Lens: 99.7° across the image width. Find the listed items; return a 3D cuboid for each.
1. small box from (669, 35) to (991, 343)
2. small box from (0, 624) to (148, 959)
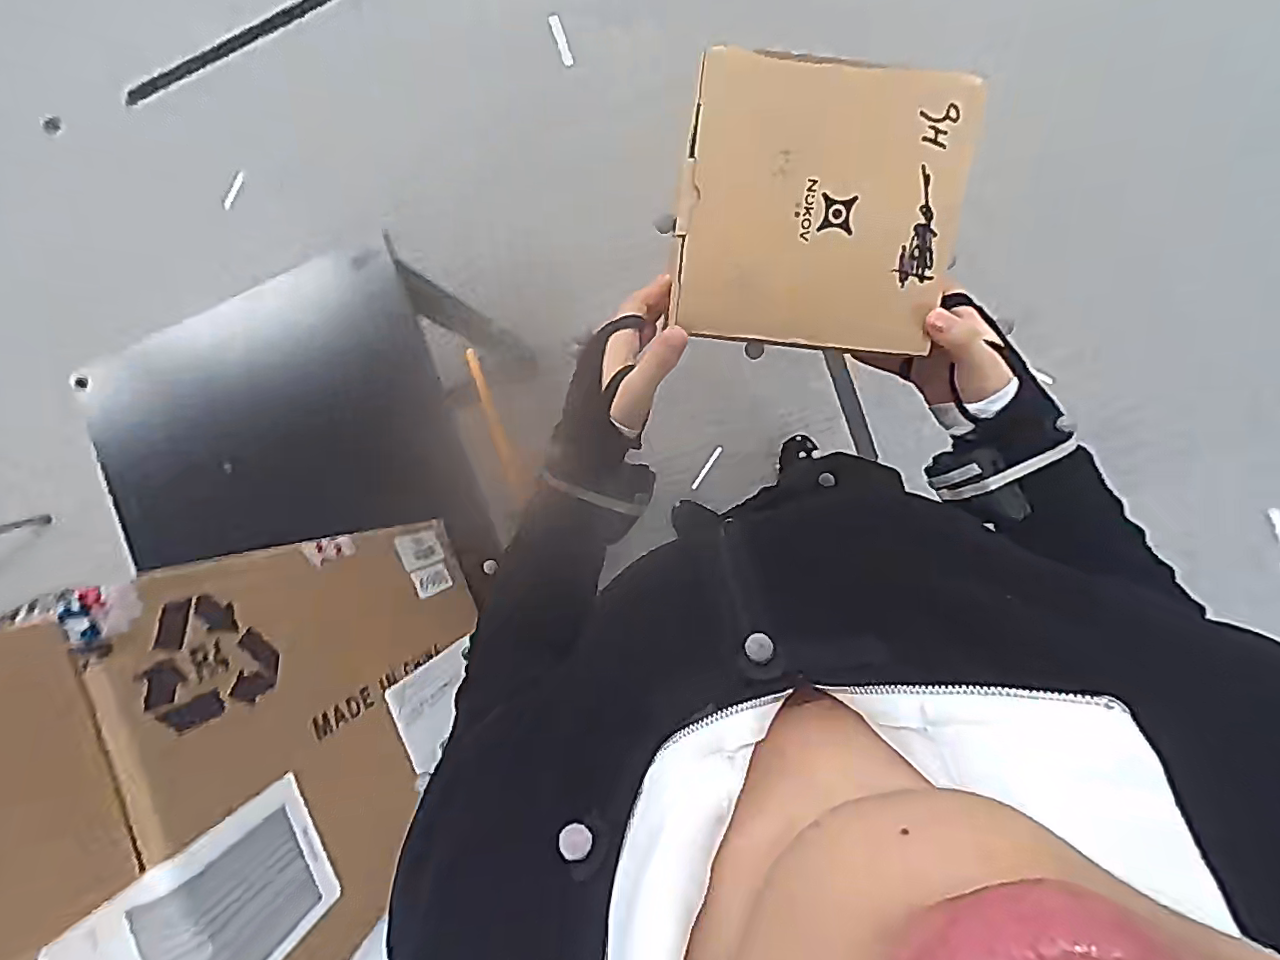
[{"bbox_3d":[0.119,-0.199,0.423,0.179,0.176,0.168,6,105,-2],"label":"small box"},{"bbox_3d":[-0.419,0.188,0.274,0.168,0.176,0.179,-23,88,8],"label":"small box"}]
